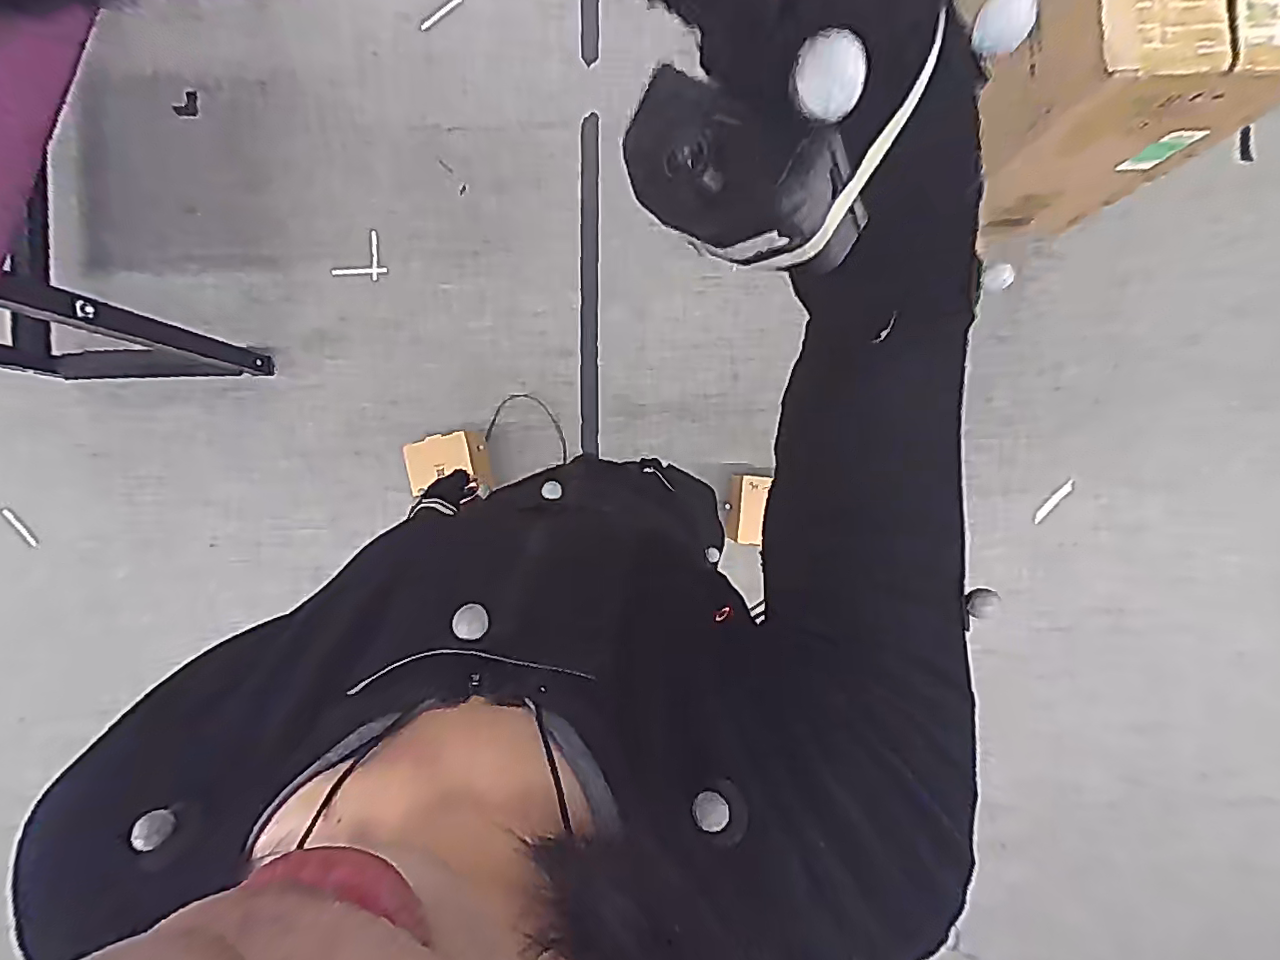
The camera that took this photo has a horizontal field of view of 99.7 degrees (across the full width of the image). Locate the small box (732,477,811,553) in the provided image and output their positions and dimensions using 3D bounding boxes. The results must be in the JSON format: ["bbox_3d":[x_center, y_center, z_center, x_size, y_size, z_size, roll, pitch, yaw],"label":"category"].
[{"bbox_3d":[0.341,0.087,1.435,0.168,0.176,0.179,5,90,0],"label":"small box"}]

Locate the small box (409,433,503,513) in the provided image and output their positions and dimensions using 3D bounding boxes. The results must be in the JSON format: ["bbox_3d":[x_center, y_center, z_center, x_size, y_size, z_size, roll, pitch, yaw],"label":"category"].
[{"bbox_3d":[-0.483,-0.017,1.438,0.168,0.176,0.179,-14,90,3],"label":"small box"}]
